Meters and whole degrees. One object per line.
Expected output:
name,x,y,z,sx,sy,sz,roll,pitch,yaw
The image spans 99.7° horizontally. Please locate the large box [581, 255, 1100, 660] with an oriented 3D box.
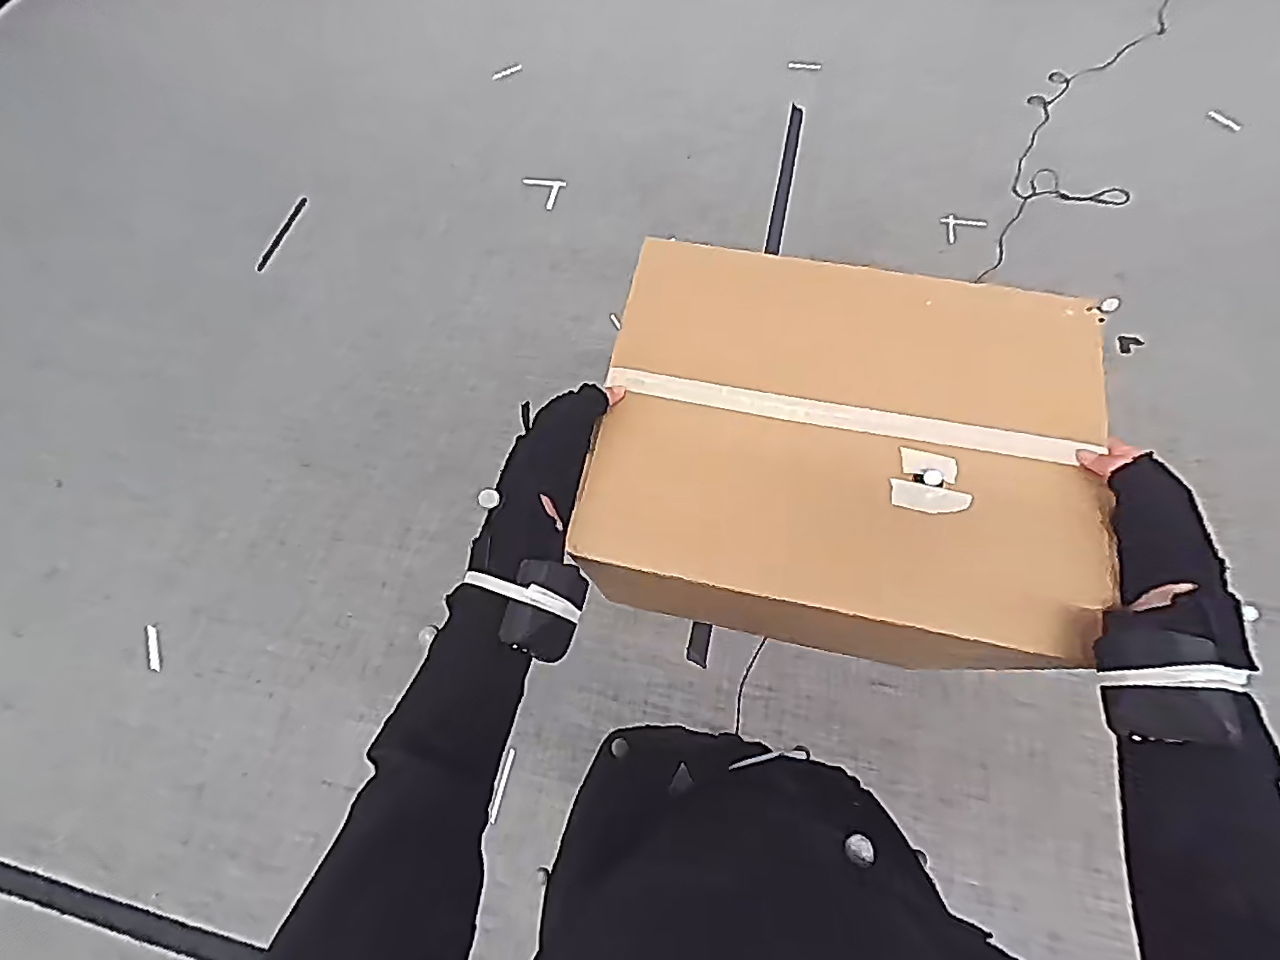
large box,0.176,0.002,0.601,0.408,0.320,0.320,11,73,6
